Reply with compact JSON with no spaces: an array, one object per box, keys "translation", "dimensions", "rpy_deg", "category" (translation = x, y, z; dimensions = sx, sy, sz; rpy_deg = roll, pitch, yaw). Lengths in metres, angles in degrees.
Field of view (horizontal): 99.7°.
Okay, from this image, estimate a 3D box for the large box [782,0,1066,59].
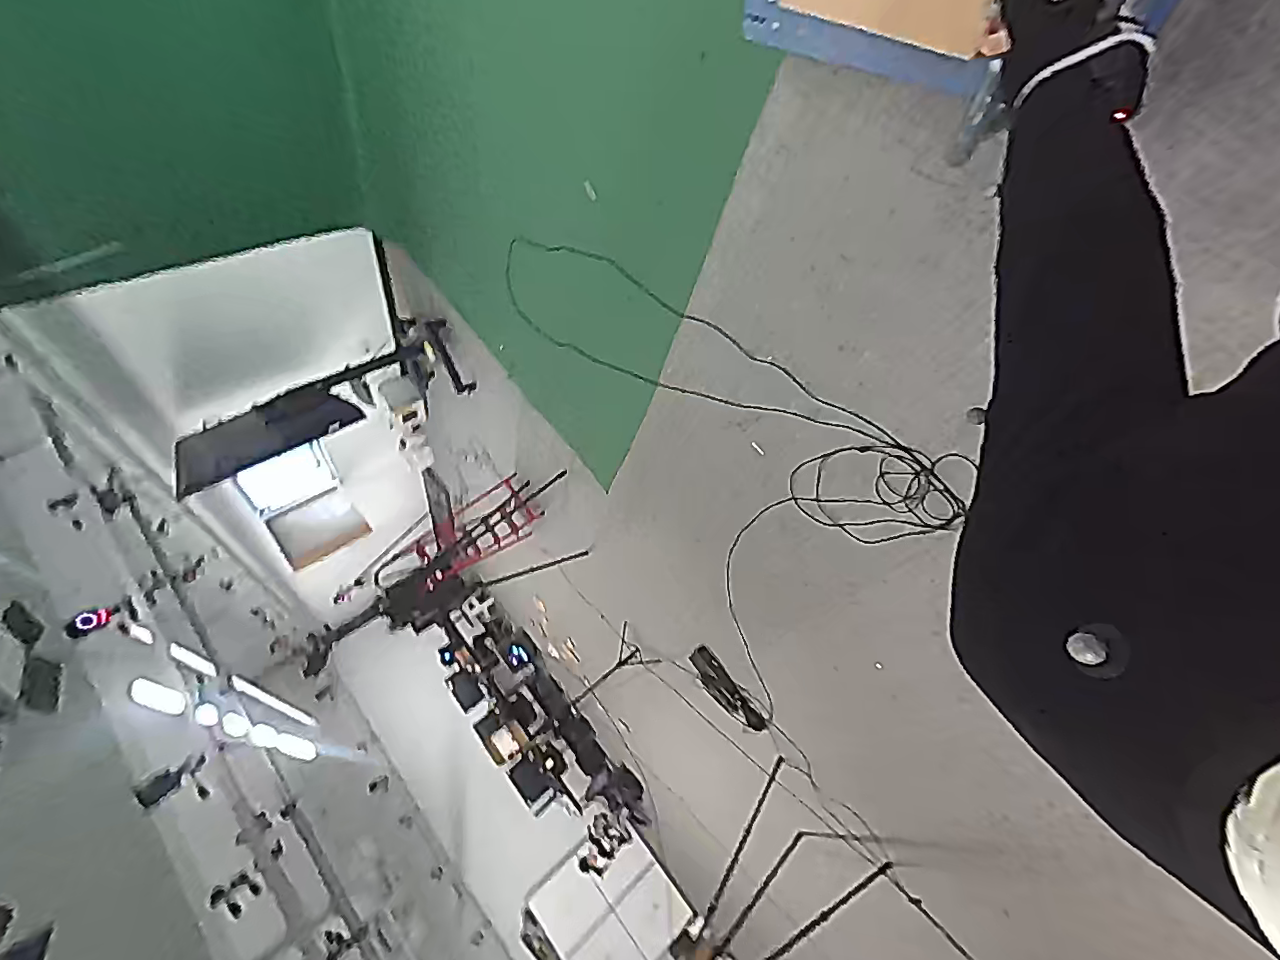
[{"translation":[0.526,-0.960,0.911],"dimensions":[0.408,0.320,0.320],"rpy_deg":[42,147,26],"category":"large box"}]
